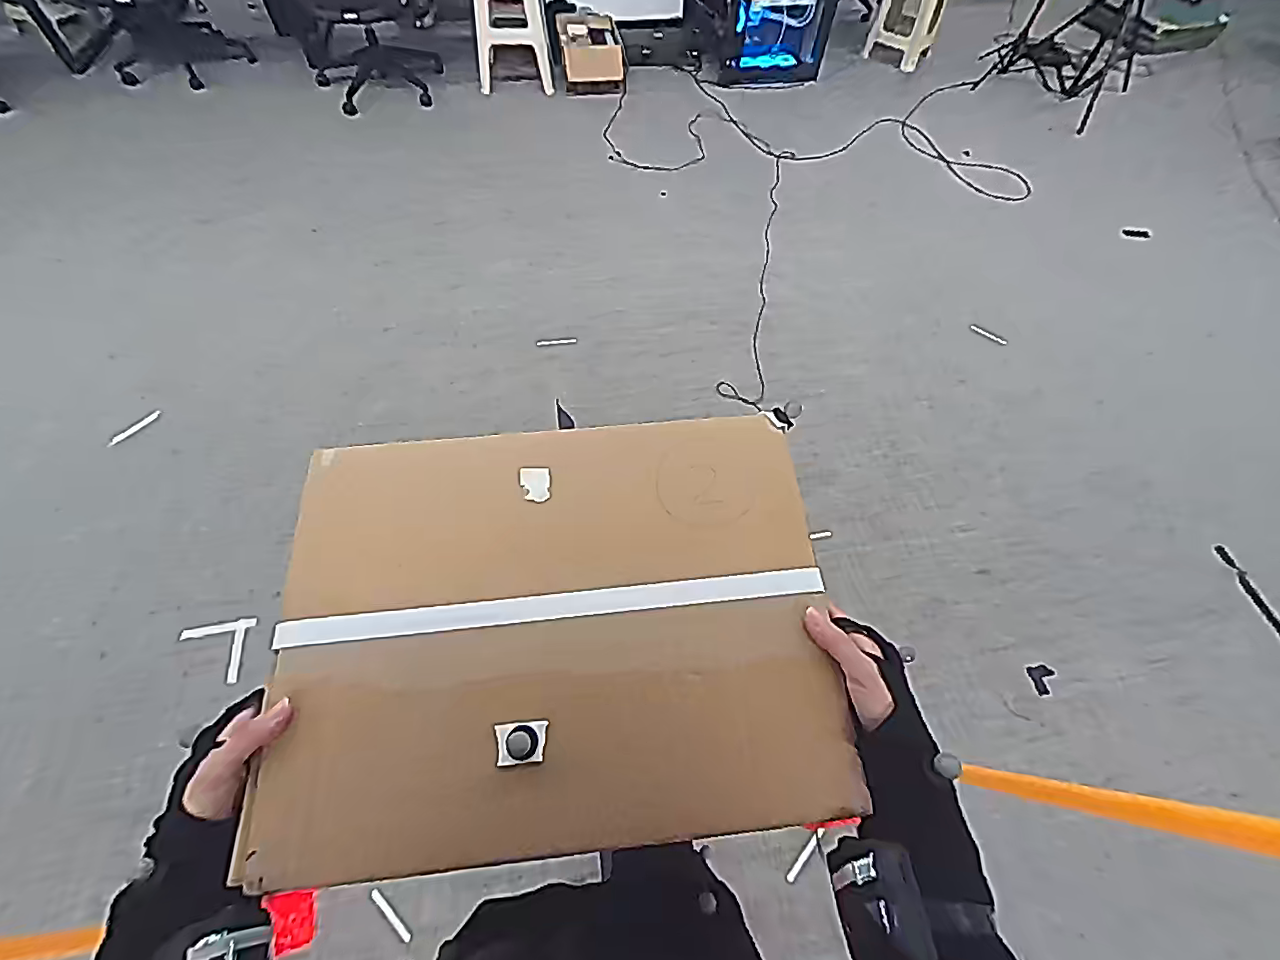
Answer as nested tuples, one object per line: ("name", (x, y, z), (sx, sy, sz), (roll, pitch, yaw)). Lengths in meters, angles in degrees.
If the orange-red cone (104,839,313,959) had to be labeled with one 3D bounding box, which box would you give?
("orange-red cone", (-0.746, 0.752, 0.915), (0.199, 0.360, 0.198), (-16, 59, -10))
